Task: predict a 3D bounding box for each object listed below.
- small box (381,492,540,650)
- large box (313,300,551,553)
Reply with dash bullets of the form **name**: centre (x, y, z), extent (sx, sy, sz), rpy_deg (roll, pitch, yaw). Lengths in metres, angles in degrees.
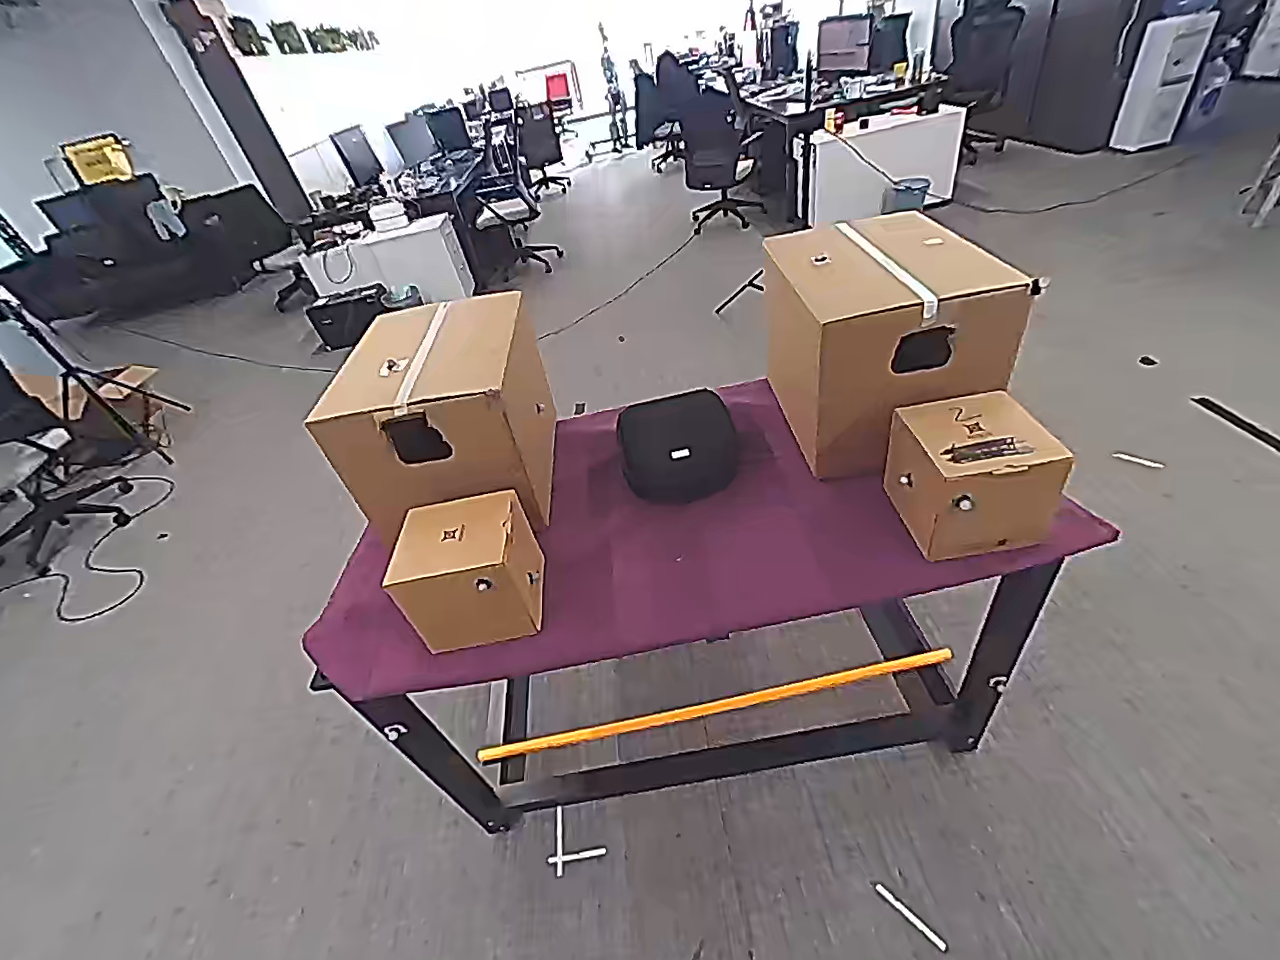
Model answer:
- **small box**: centre (-0.272, 0.147, 0.862), extent (0.179, 0.176, 0.168), rpy_deg (-12, 38, 1)
- **large box**: centre (-0.364, -0.114, 1.086), extent (0.320, 0.320, 0.408), rpy_deg (-10, 42, 2)
